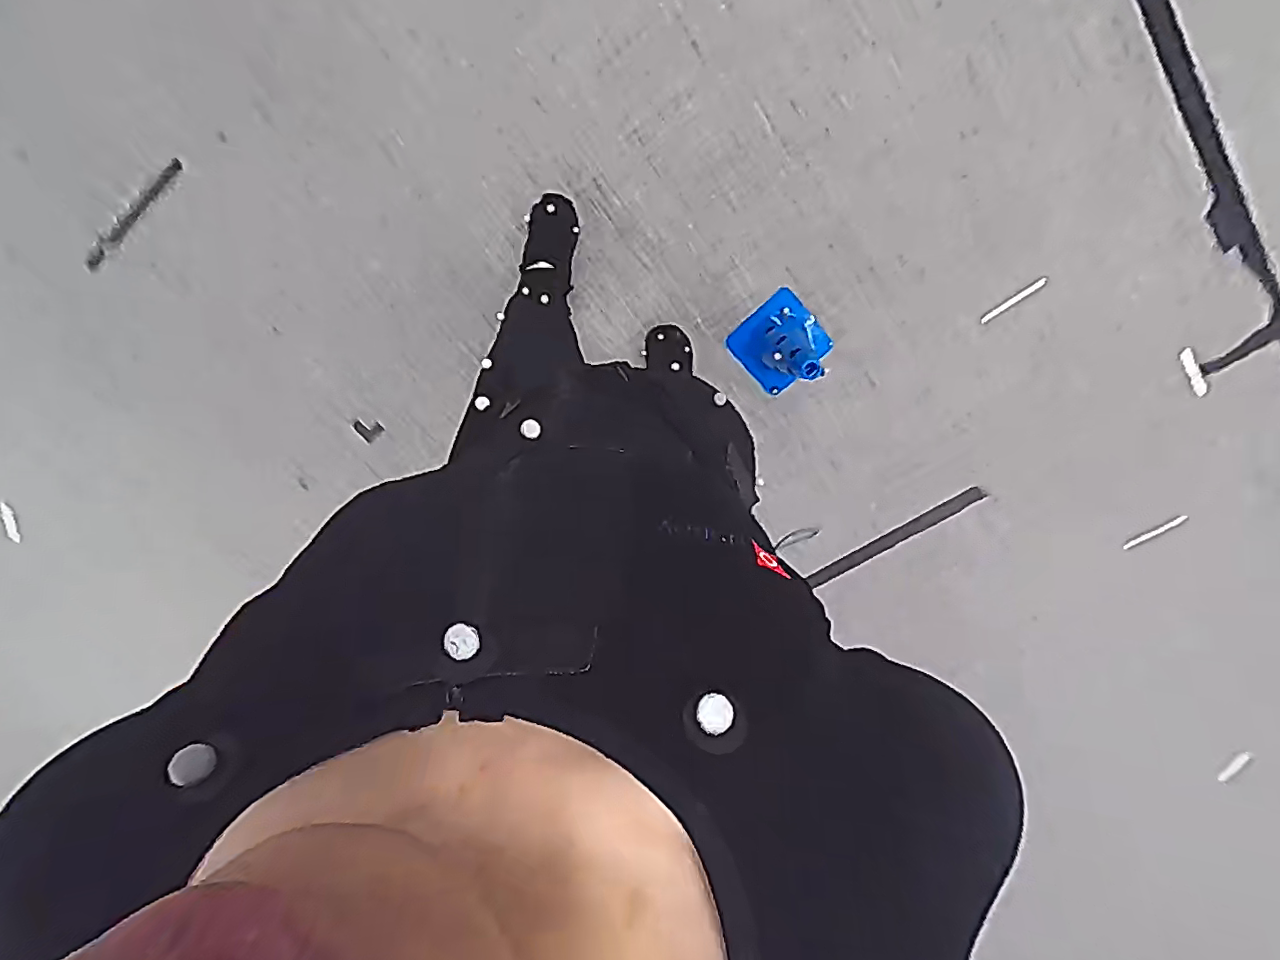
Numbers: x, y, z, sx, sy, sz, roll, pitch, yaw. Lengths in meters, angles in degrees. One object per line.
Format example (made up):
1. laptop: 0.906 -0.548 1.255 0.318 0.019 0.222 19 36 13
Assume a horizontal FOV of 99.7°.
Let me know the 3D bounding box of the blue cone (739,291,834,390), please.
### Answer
1. blue cone: 0.349 -0.280 1.181 0.193 0.380 0.192 -40 105 18
